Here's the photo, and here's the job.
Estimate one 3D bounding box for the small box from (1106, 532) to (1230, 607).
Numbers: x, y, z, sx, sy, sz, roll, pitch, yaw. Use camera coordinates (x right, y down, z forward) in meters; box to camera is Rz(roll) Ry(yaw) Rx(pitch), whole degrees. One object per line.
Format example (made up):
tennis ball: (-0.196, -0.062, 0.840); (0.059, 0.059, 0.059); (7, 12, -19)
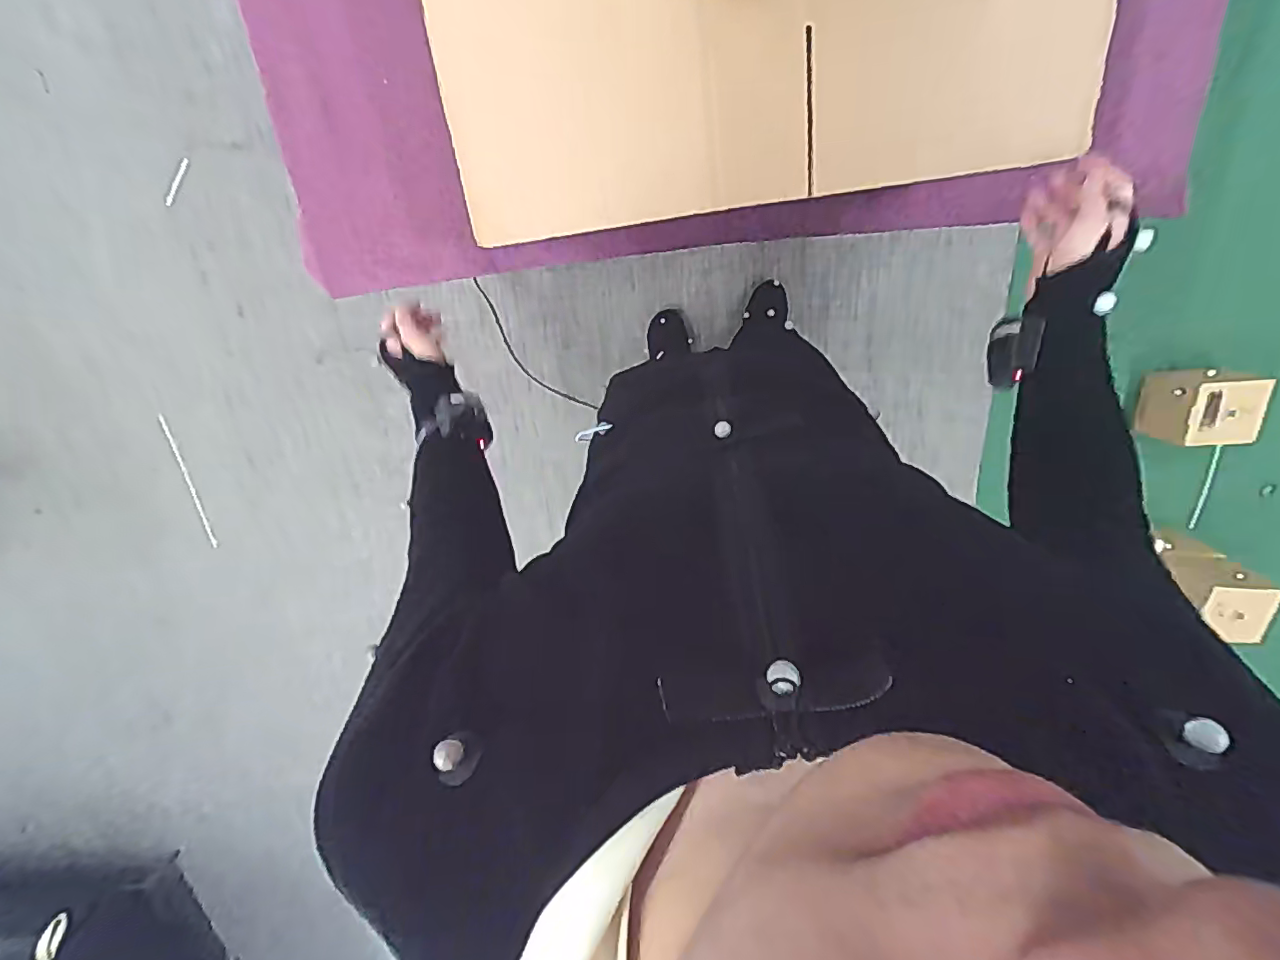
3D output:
small box: (1.549, 0.263, 1.600); (0.179, 0.176, 0.168); (1, 111, 4)

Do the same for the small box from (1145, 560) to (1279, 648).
small box: (1.534, 0.326, 1.448); (0.179, 0.176, 0.168); (2, 111, 3)
